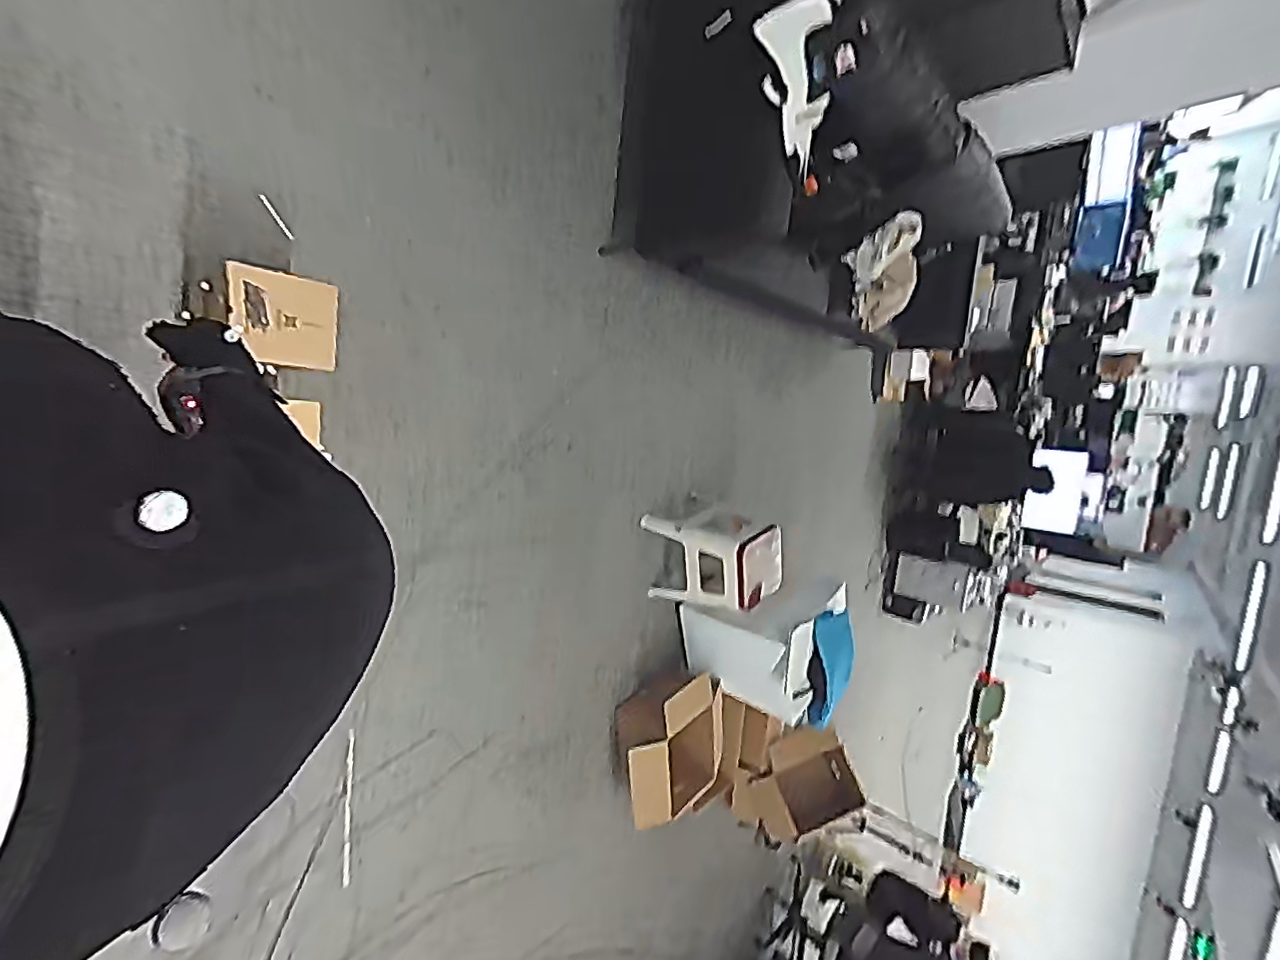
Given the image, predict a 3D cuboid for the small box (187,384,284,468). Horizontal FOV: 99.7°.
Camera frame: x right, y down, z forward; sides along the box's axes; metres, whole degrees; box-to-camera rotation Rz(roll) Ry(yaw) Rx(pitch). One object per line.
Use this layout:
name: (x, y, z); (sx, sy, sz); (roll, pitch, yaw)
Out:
small box: (-0.856, -0.117, 1.172); (0.179, 0.176, 0.168); (-2, 100, -46)
